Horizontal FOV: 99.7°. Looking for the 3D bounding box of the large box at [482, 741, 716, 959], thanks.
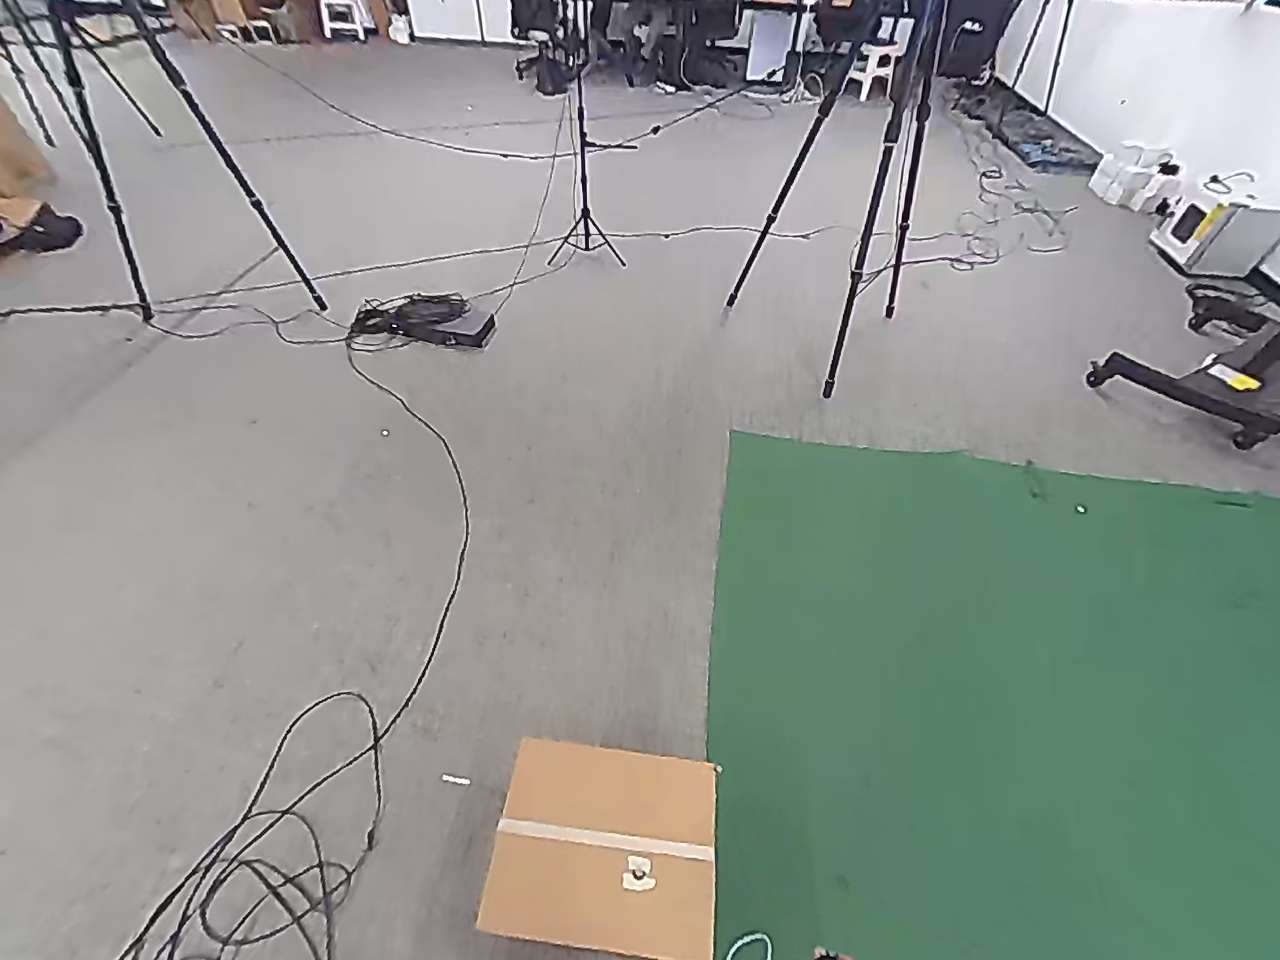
[{"bbox_3d":[-0.066,0.770,1.113,0.408,0.320,0.320,7,48,3],"label":"large box"}]
